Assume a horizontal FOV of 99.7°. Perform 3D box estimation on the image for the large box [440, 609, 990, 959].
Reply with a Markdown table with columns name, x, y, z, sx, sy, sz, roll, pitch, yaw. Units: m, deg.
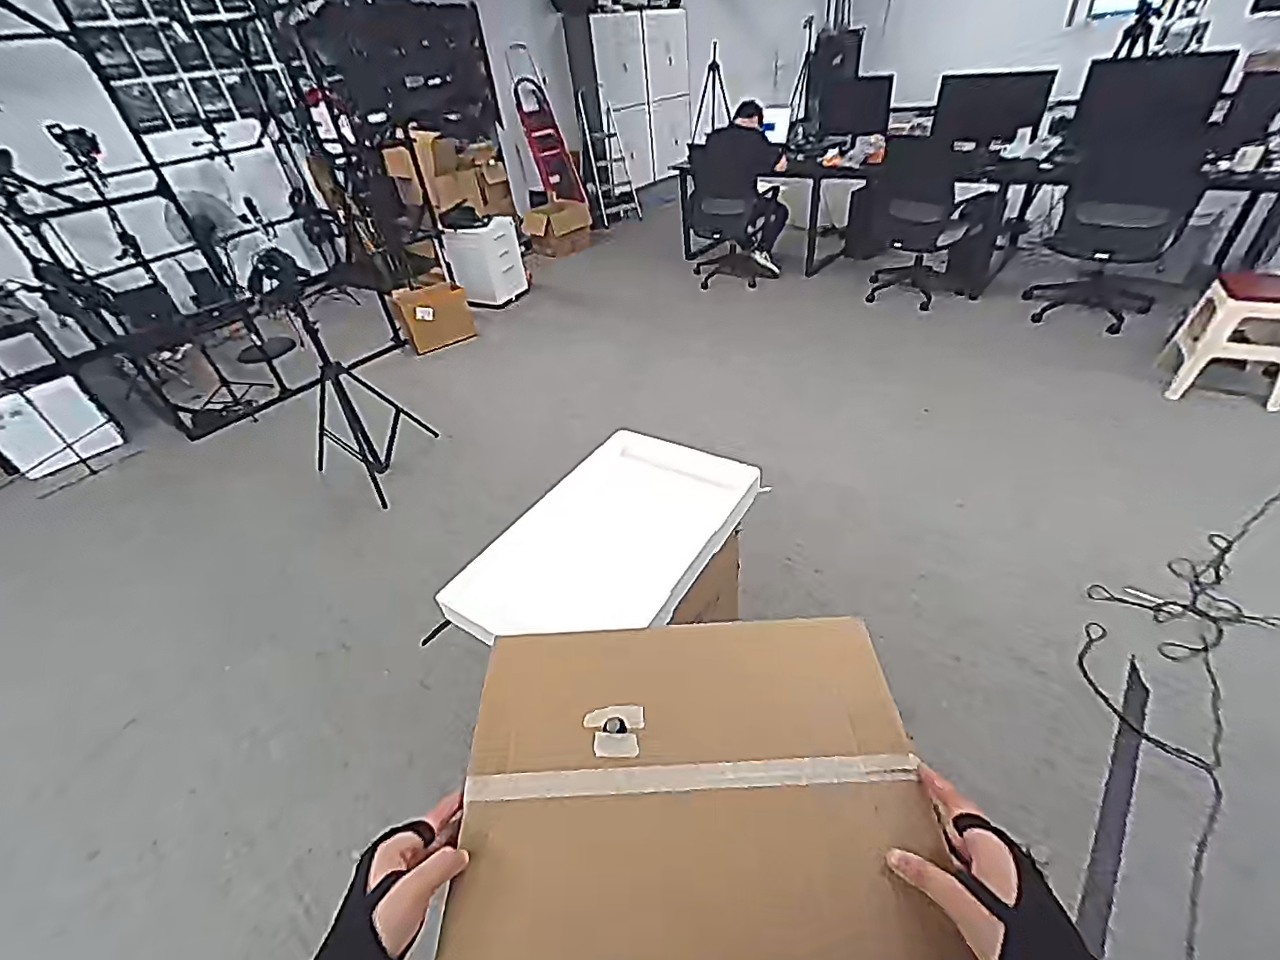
| name | x | y | z | sx | sy | sz | roll | pitch | yaw |
| --- | --- | --- | --- | --- | --- | --- | --- | --- | --- |
| large box | 0.057 | 0.368 | 0.583 | 0.408 | 0.320 | 0.320 | -5 | 43 | 2 |
